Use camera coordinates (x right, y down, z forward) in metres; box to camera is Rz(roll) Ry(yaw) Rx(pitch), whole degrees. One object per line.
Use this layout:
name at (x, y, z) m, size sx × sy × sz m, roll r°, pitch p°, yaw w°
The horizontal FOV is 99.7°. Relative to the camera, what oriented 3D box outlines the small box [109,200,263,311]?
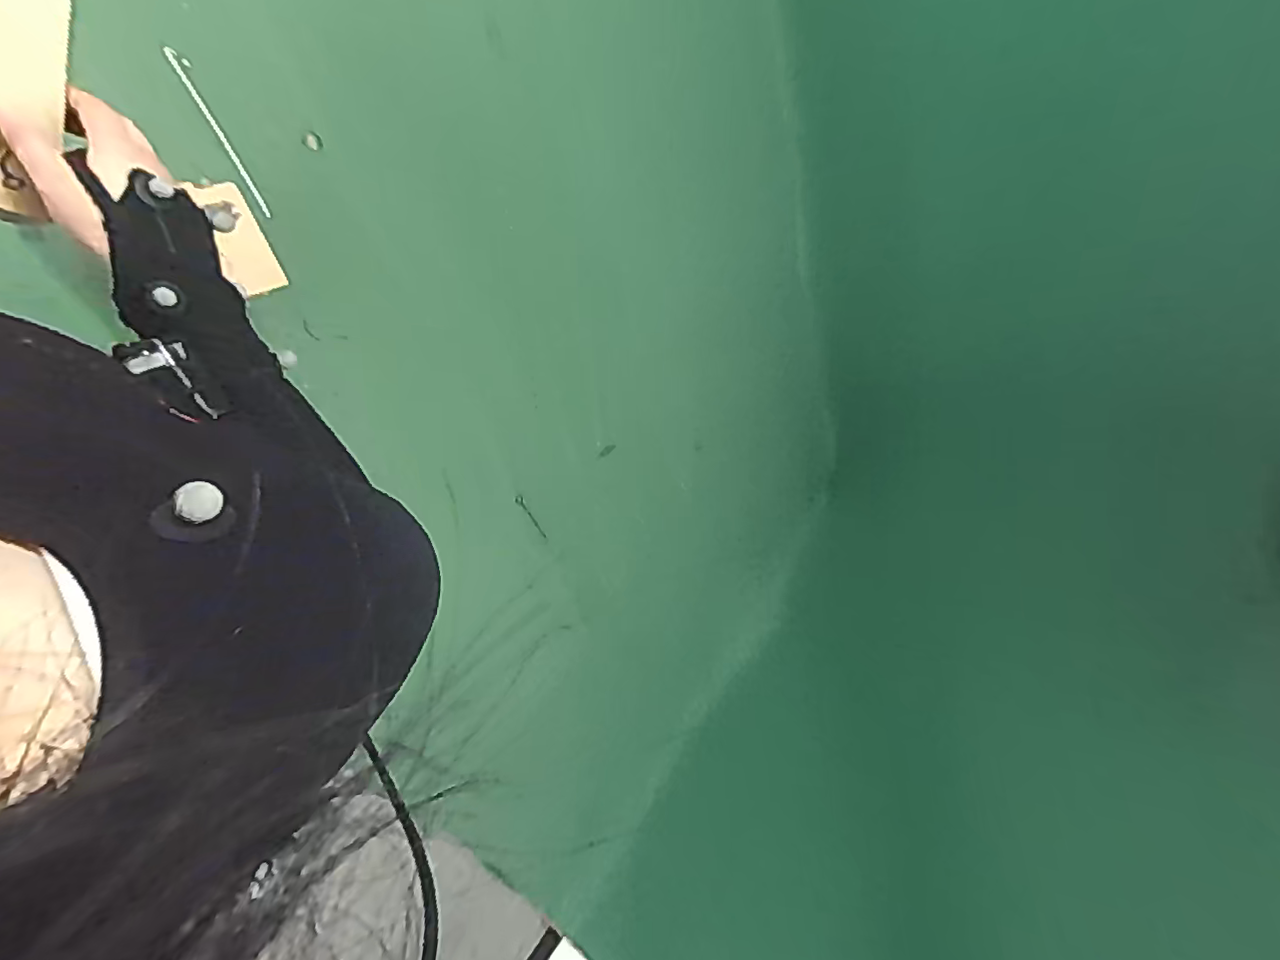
small box at (-0.901, -0.441, 1.073) m, size 0.179 × 0.176 × 0.168 m, roll -37°, pitch 125°, yaw -38°
